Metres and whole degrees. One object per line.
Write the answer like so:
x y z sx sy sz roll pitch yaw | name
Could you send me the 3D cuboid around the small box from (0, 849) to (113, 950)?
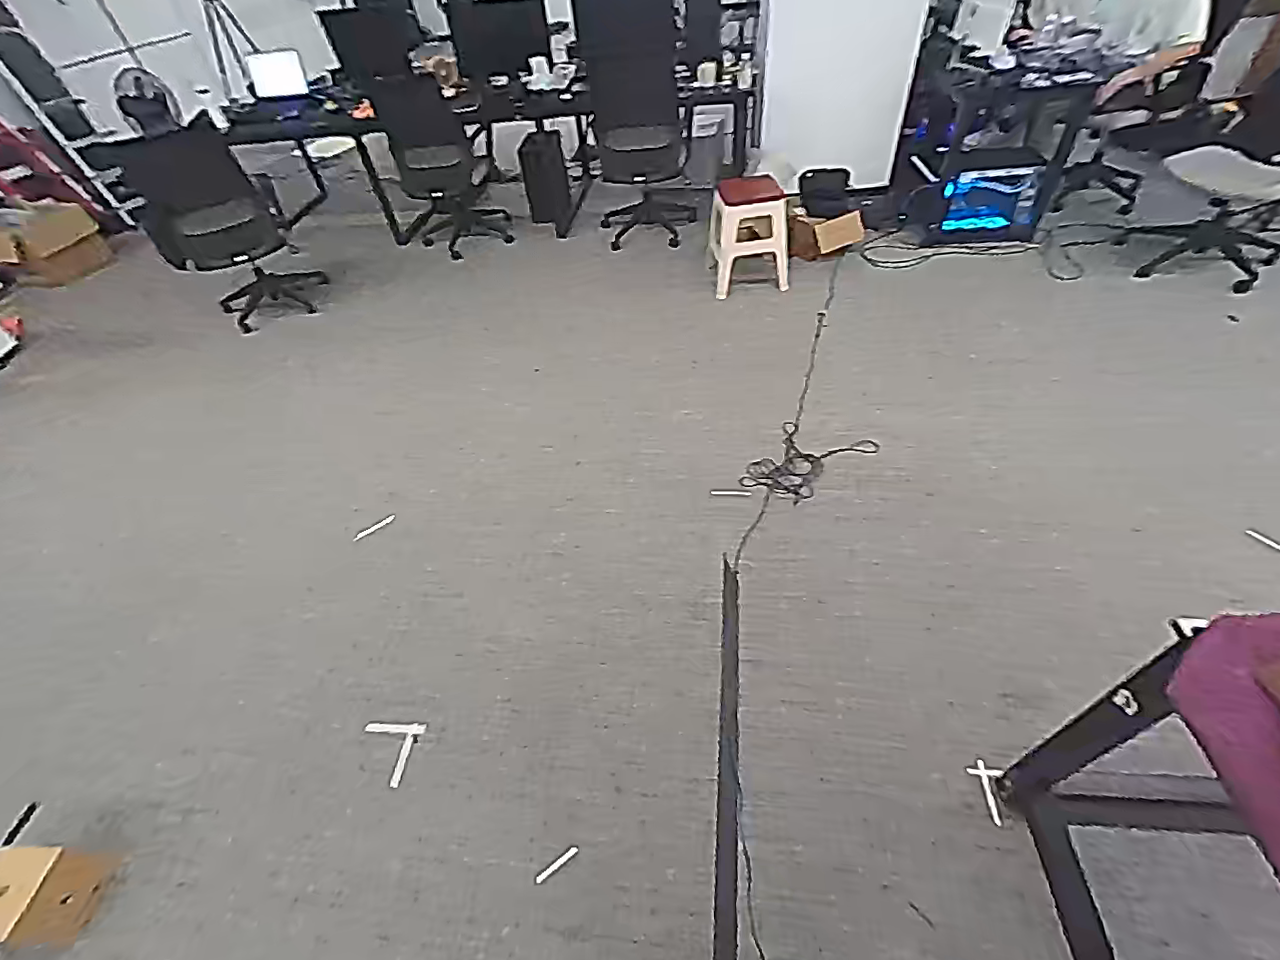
-1.387 0.957 1.233 0.179 0.176 0.168 -3 47 6 | small box
